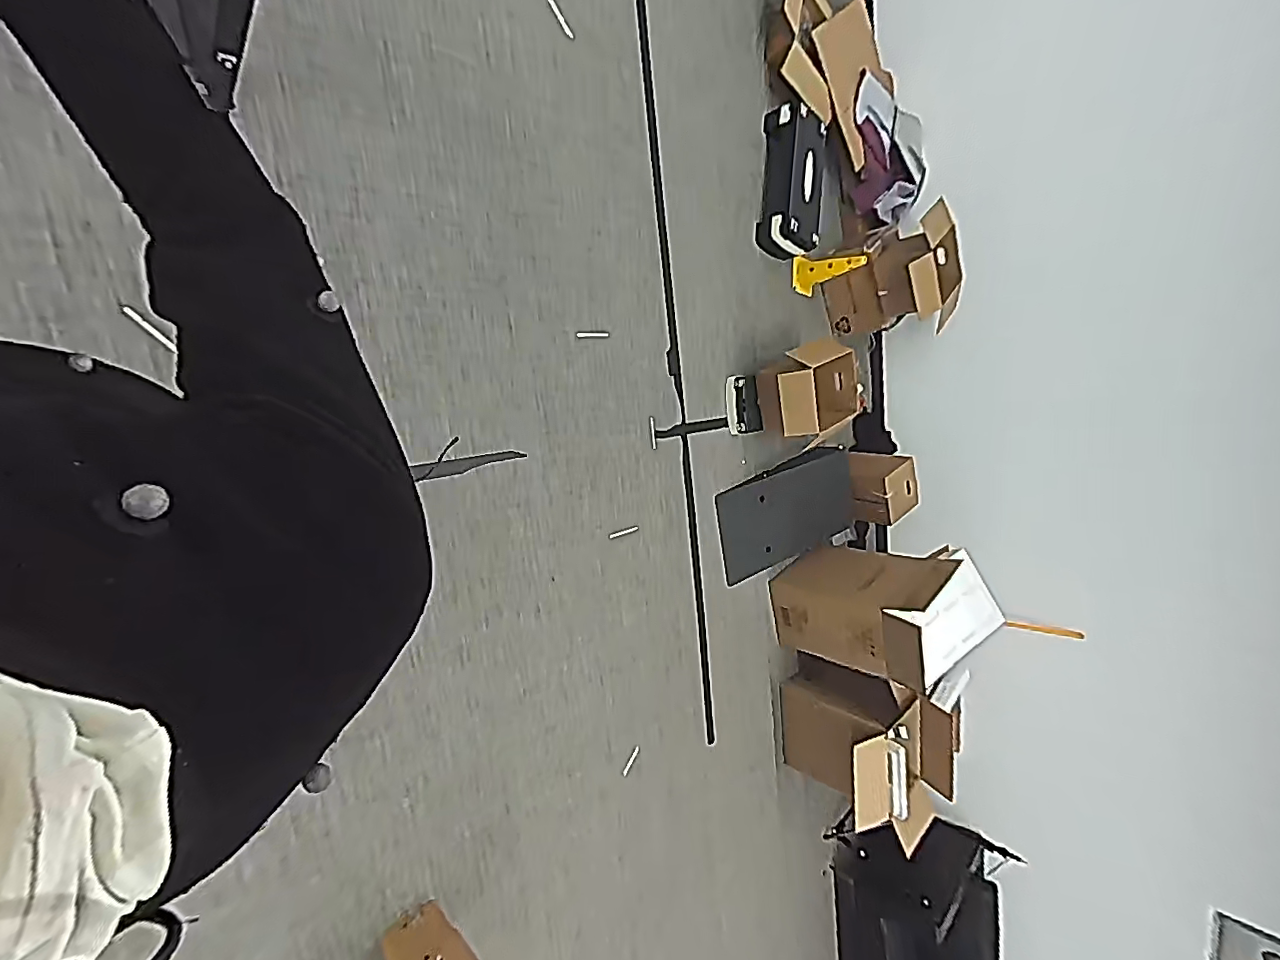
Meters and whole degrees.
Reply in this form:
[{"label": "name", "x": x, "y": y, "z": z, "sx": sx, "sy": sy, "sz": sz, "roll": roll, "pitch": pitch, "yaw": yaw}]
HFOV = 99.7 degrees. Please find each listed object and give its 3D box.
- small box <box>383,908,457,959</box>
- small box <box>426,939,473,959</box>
[{"label": "small box", "x": -0.665, "y": 1.479, "z": 1.654, "sx": 0.168, "sy": 0.176, "sz": 0.179, "roll": -12, "pitch": 101, "yaw": -43}, {"label": "small box", "x": -0.547, "y": 1.482, "z": 1.540, "sx": 0.168, "sy": 0.176, "sz": 0.179, "roll": -13, "pitch": 101, "yaw": -43}]
